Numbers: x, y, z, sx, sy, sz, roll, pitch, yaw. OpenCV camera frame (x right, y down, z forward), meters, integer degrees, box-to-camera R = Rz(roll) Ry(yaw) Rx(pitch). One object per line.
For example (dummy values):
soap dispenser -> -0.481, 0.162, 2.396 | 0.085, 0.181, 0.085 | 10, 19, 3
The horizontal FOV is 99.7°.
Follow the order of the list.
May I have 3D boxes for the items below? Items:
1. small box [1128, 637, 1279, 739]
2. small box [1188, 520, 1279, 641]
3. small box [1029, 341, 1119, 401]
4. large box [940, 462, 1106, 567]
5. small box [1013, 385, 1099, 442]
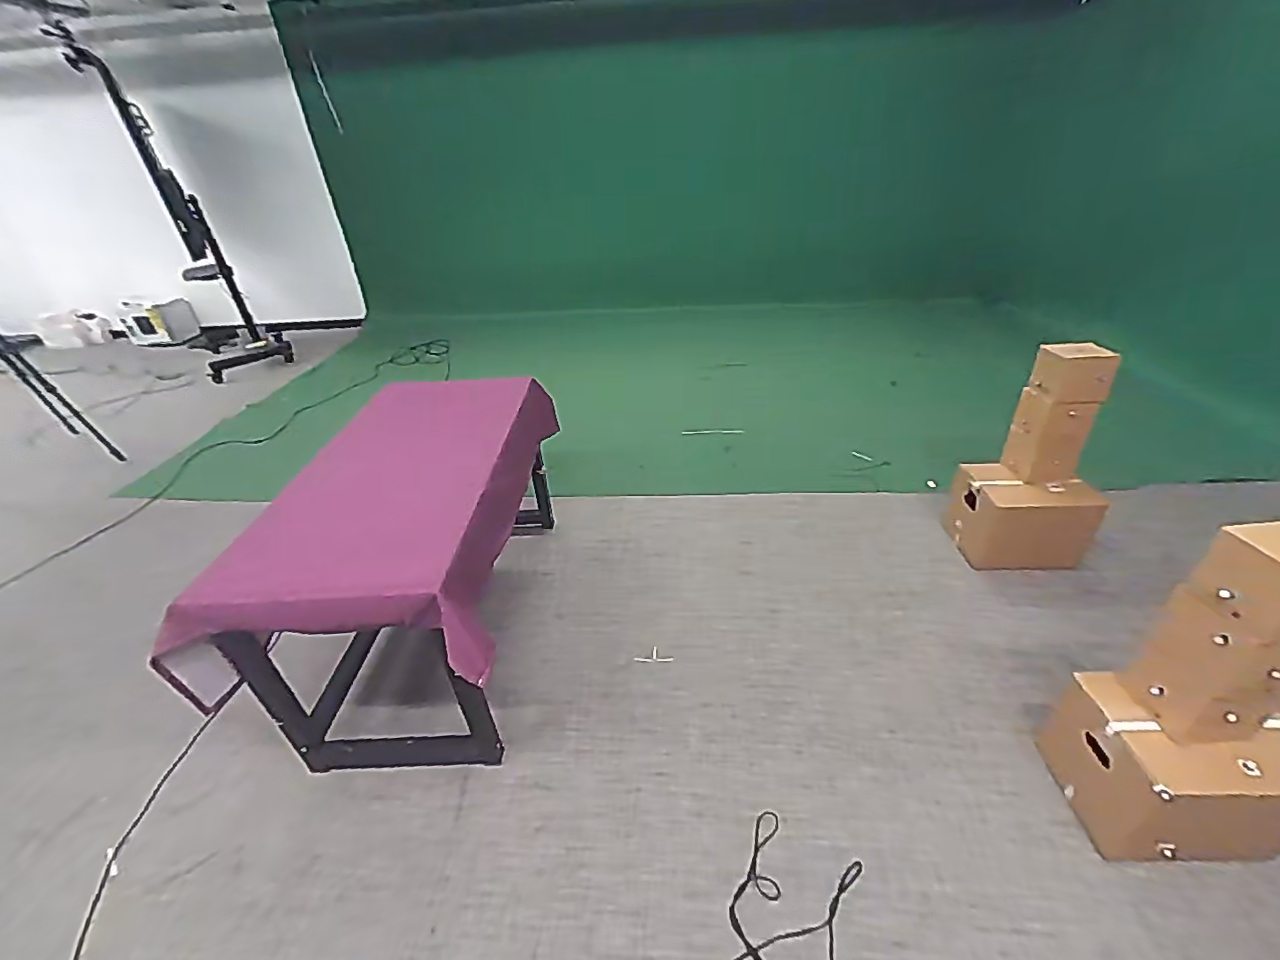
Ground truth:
small box -> 1.286, 0.476, 1.248 | 0.179, 0.176, 0.168 | -4, 32, 1
small box -> 1.269, 0.197, 1.071 | 0.179, 0.176, 0.168 | -5, 32, -1
small box -> 1.549, -0.391, 1.943 | 0.179, 0.176, 0.168 | -2, 29, 6
large box -> 1.514, 0.138, 2.181 | 0.408, 0.320, 0.320 | -1, 33, 3
small box -> 1.552, -0.252, 2.029 | 0.179, 0.176, 0.168 | -3, 30, 4
